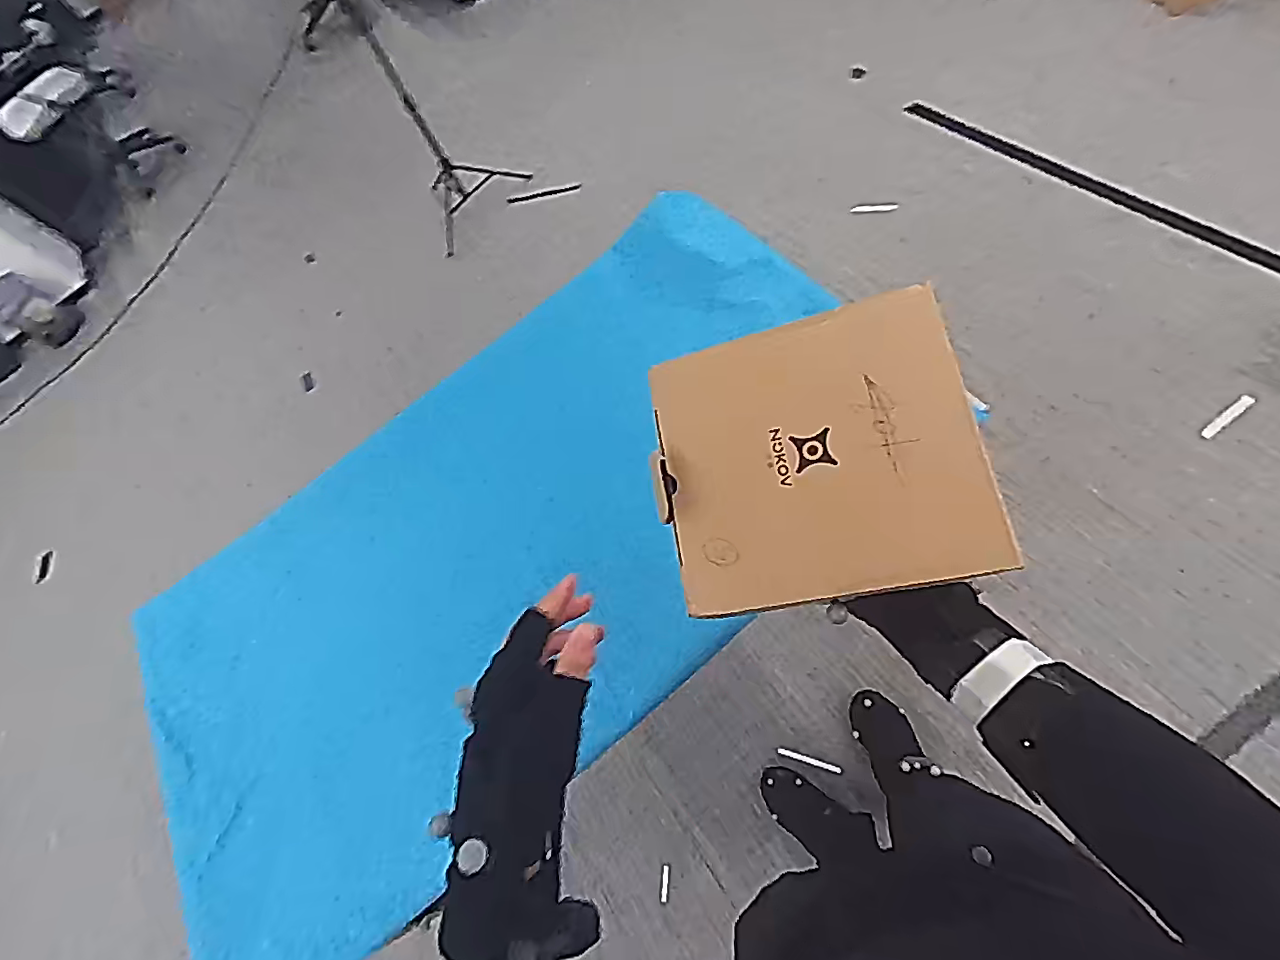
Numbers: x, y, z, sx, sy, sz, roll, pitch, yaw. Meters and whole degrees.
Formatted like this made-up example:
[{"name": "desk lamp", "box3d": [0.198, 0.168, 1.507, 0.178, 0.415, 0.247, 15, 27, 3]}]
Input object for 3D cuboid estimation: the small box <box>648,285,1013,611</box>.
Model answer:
[{"name": "small box", "box3d": [0.123, 0.000, 0.383, 0.179, 0.176, 0.168, -13, 75, 18]}]
